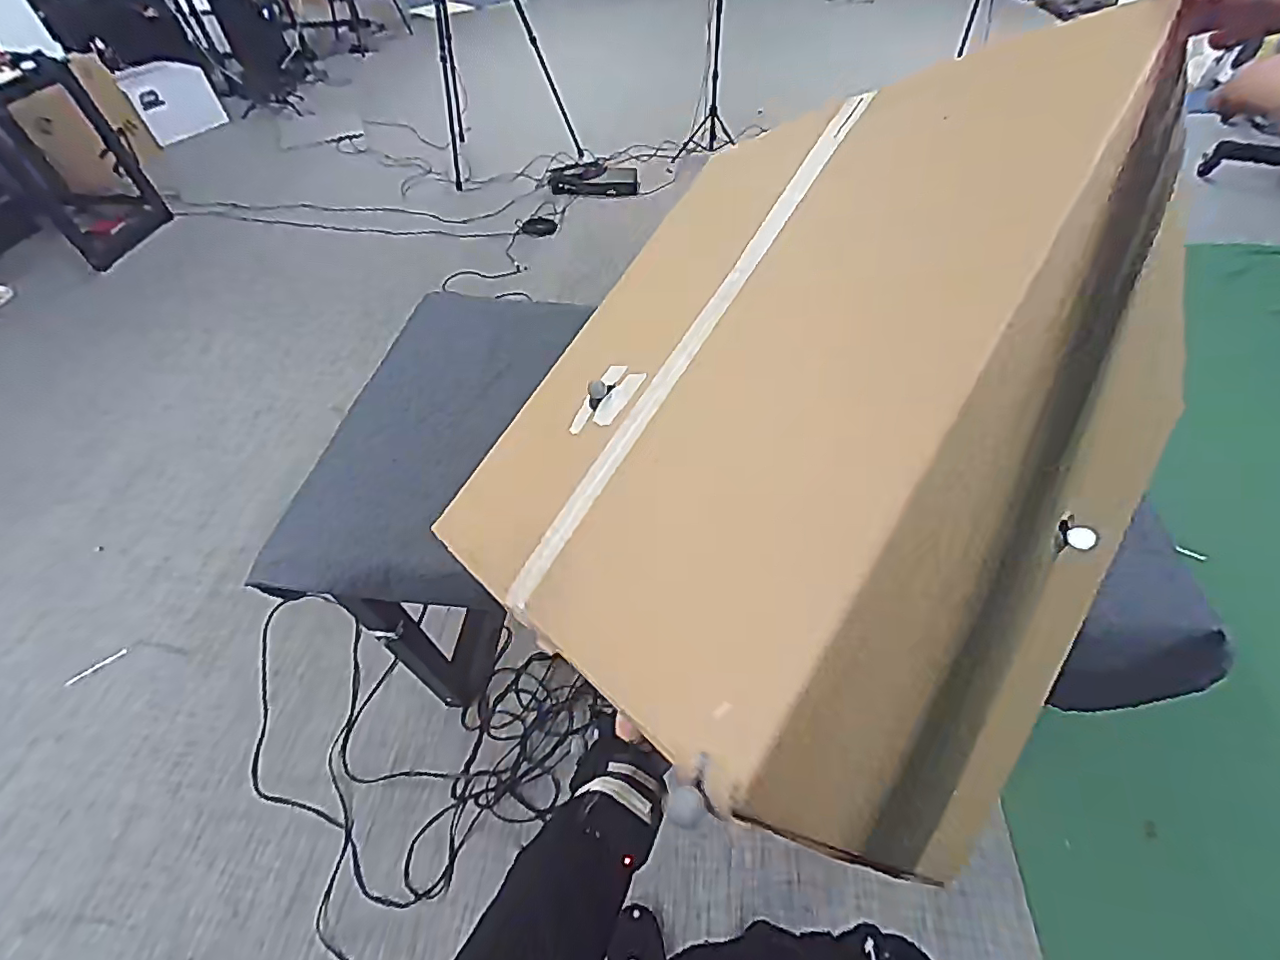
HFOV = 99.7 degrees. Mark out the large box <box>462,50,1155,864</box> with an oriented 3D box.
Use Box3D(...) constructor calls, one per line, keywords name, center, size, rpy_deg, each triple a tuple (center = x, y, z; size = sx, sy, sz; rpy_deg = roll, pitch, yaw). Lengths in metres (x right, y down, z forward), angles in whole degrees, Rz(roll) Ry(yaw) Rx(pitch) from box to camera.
Box3D(name="large box", center=(0.146, -0.004, 0.431), size=(0.320, 0.320, 0.408), rpy_deg=(19, 72, 50))
